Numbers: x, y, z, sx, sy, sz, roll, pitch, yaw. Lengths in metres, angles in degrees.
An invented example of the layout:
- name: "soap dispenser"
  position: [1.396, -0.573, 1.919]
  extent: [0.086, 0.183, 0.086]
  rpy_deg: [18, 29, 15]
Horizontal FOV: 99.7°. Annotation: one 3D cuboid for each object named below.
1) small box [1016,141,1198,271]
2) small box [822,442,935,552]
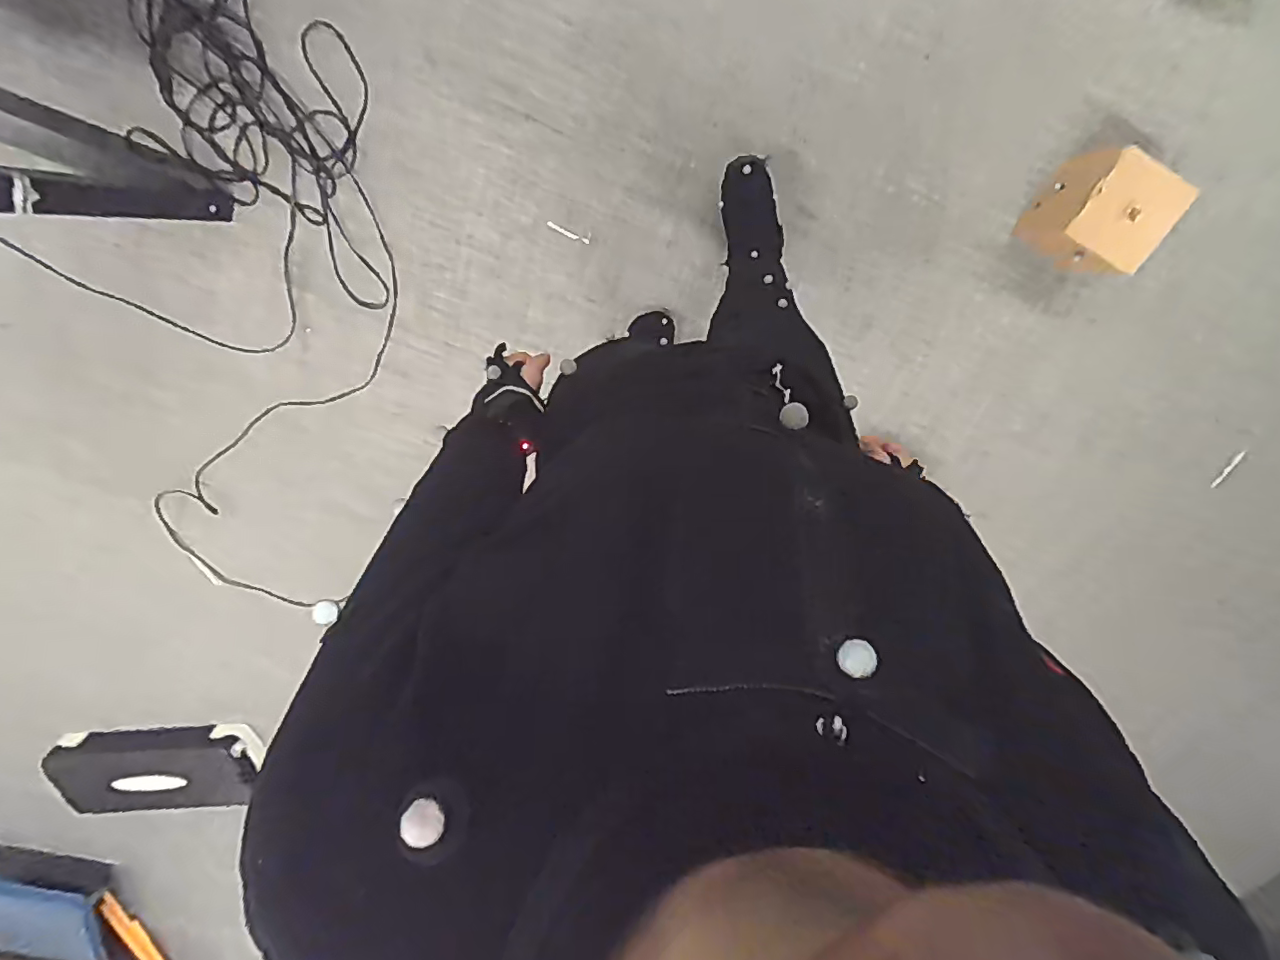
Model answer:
- name: "small box"
  position: [0.919, -0.541, 1.082]
  extent: [0.179, 0.176, 0.168]
  rpy_deg: [25, 112, -9]
- name: "small box"
  position: [0.579, 0.038, 1.345]
  extent: [0.168, 0.176, 0.179]
  rpy_deg: [36, 109, -15]
